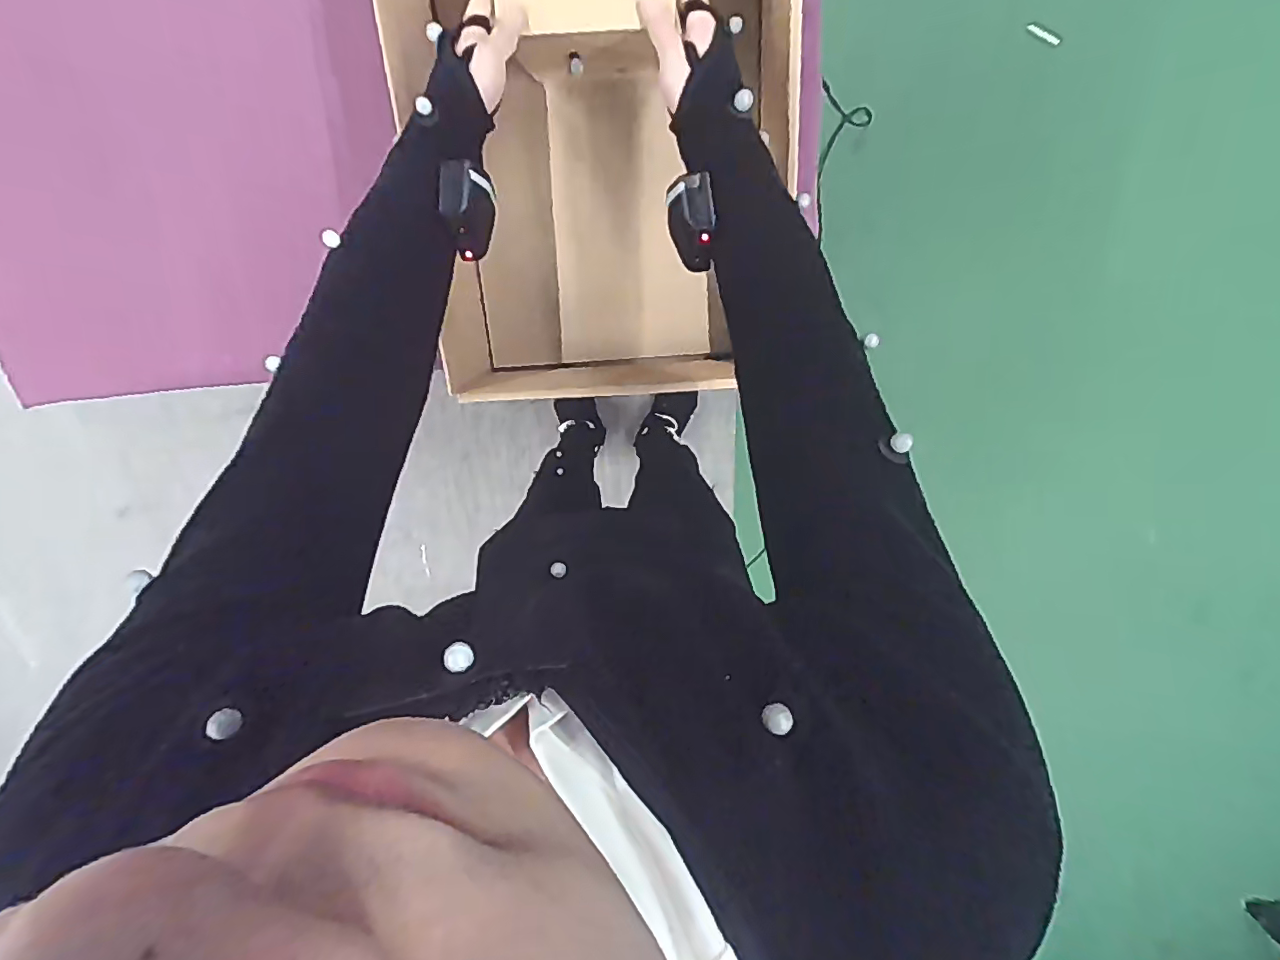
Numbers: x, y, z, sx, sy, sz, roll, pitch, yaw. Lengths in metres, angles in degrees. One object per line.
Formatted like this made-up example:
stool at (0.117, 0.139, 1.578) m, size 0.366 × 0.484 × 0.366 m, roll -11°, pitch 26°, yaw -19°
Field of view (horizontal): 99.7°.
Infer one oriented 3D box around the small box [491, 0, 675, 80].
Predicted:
small box at (-0.049, -0.515, 0.530) m, size 0.168 × 0.176 × 0.179 m, roll 0°, pitch 114°, yaw 4°

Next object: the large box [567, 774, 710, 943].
large box at (-0.005, 1.378, 1.984) m, size 0.408 × 0.320 × 0.320 m, roll -34°, pitch 107°, yaw 12°
